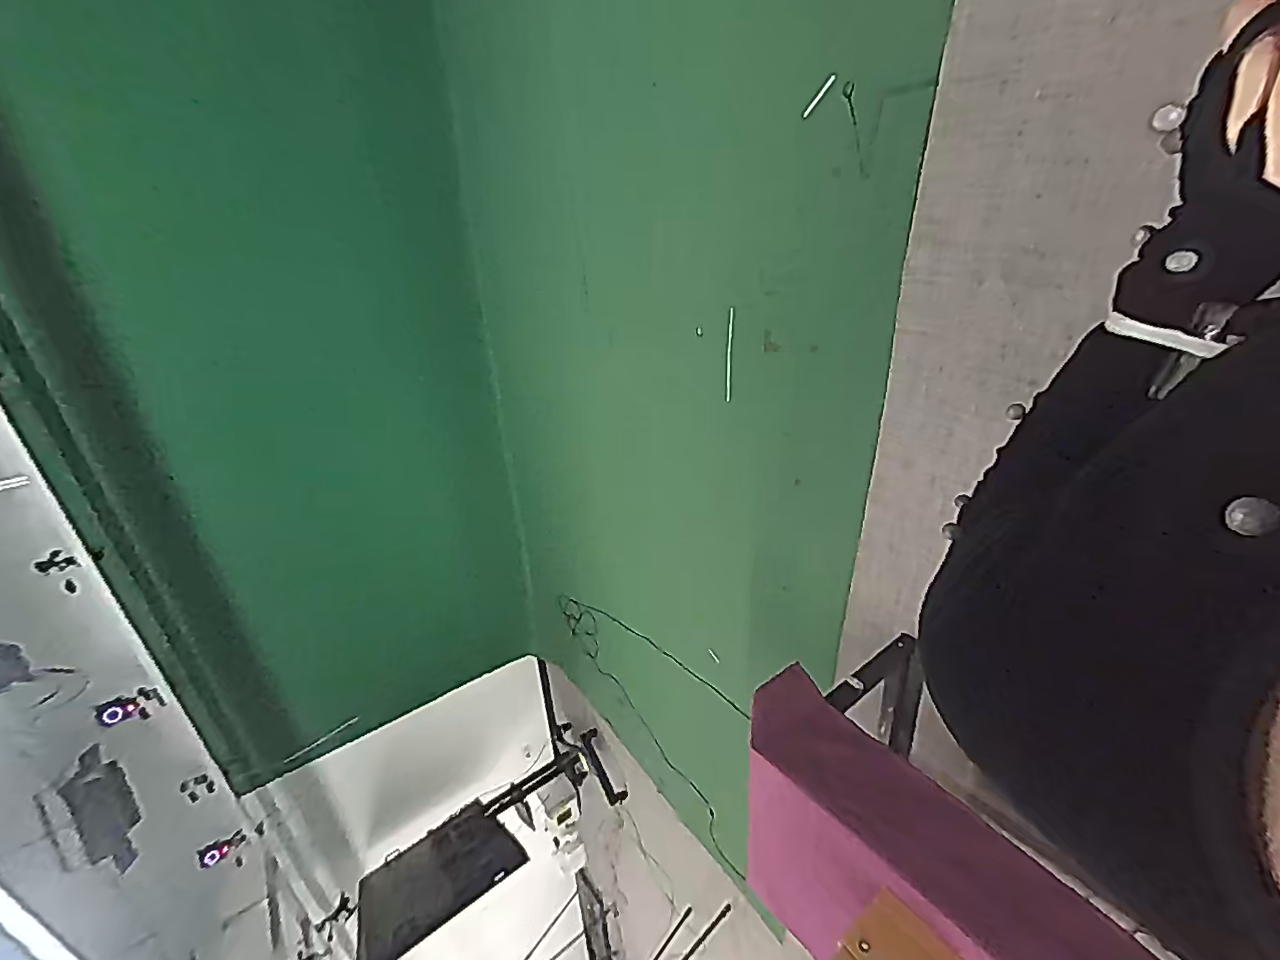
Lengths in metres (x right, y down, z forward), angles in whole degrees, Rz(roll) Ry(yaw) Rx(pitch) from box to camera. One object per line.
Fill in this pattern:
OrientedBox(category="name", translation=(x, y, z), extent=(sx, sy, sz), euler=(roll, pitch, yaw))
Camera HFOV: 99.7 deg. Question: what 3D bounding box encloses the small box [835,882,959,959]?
OrientedBox(category="small box", translation=(0.523, 0.998, 1.120), extent=(0.179, 0.176, 0.168), euler=(31, 132, 48))
